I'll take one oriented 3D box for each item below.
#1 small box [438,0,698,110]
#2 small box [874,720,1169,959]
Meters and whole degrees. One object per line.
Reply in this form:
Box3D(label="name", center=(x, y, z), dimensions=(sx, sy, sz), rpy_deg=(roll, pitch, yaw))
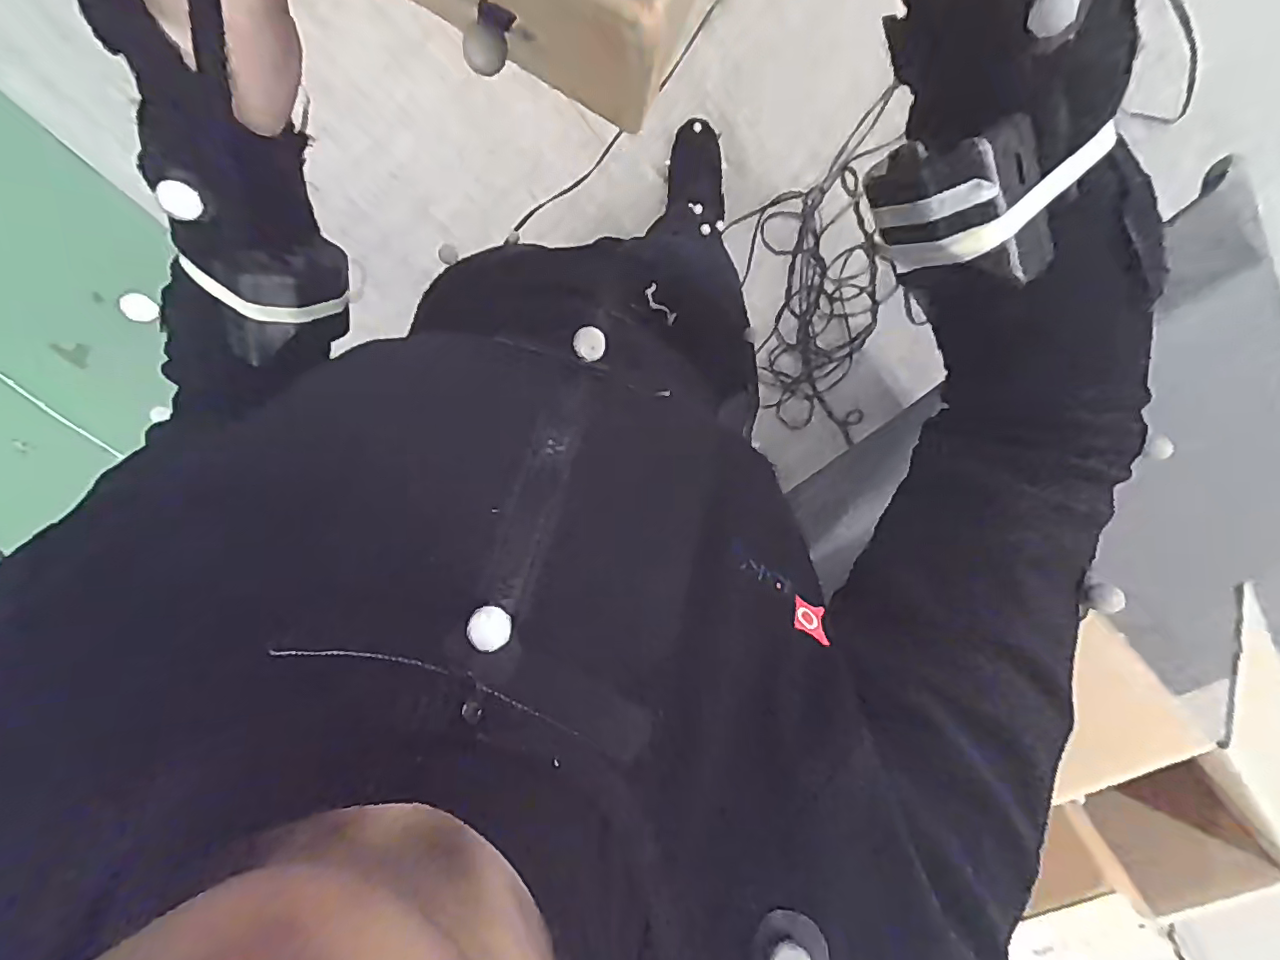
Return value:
Box3D(label="small box", center=(-0.031, -0.218, 0.115), dimensions=(0.168, 0.176, 0.179), rpy_deg=(23, 113, -14))
Box3D(label="small box", center=(0.373, 0.392, 0.567), dimensions=(0.179, 0.176, 0.168), rpy_deg=(-37, 114, 20))
